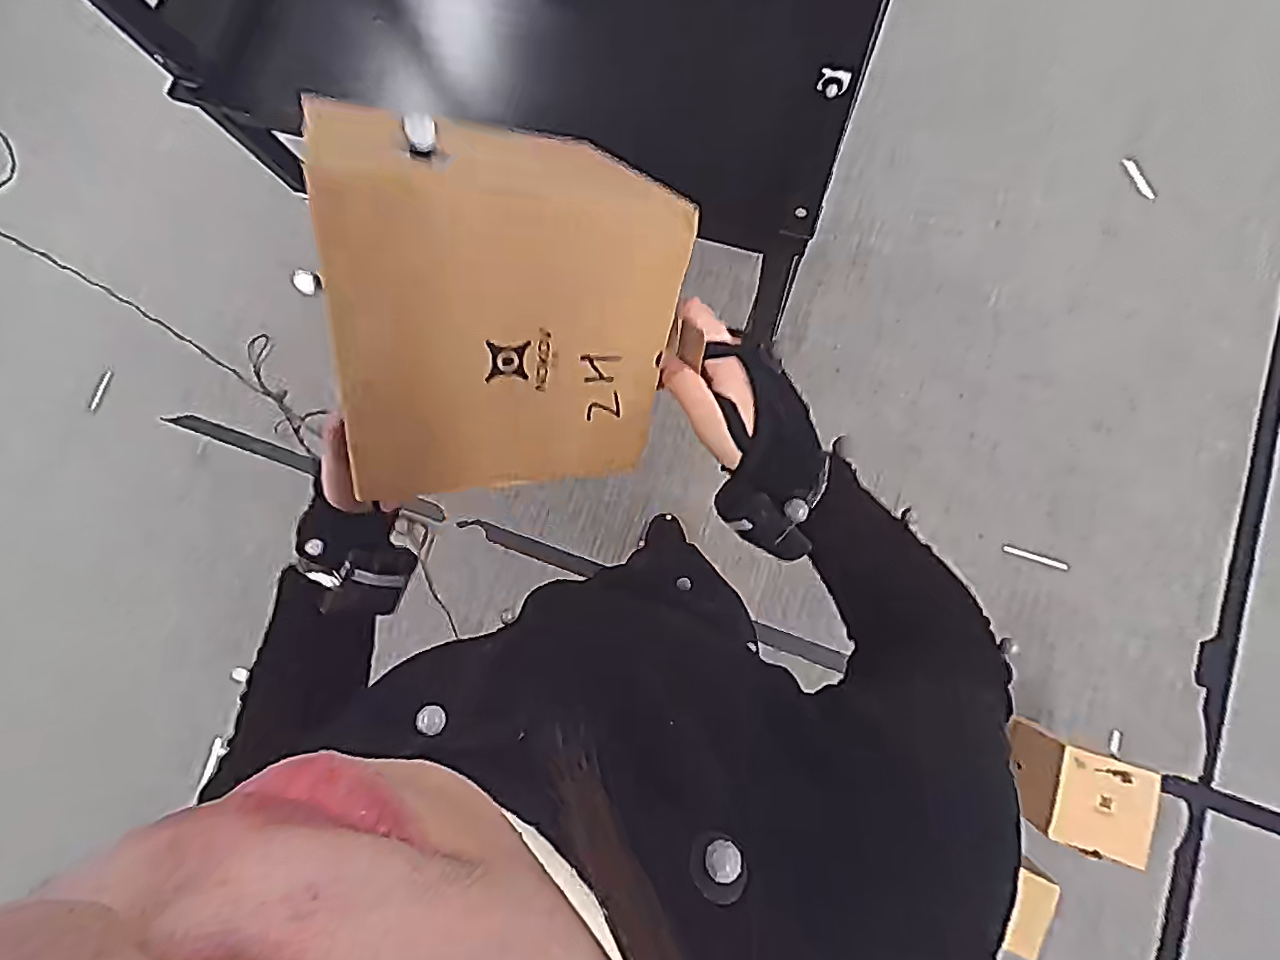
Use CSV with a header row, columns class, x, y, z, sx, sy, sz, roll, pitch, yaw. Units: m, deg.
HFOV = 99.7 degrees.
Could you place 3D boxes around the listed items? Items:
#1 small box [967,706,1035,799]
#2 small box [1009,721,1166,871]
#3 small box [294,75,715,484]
class,x,y,z,sx,sy,sz,roll,pitch,yaw
small box,0.887,0.639,1.232,0.179,0.176,0.168,20,85,9
small box,0.870,0.612,1.071,0.168,0.176,0.179,15,85,9
small box,-0.089,-0.119,0.321,0.179,0.168,0.176,-8,42,-27
